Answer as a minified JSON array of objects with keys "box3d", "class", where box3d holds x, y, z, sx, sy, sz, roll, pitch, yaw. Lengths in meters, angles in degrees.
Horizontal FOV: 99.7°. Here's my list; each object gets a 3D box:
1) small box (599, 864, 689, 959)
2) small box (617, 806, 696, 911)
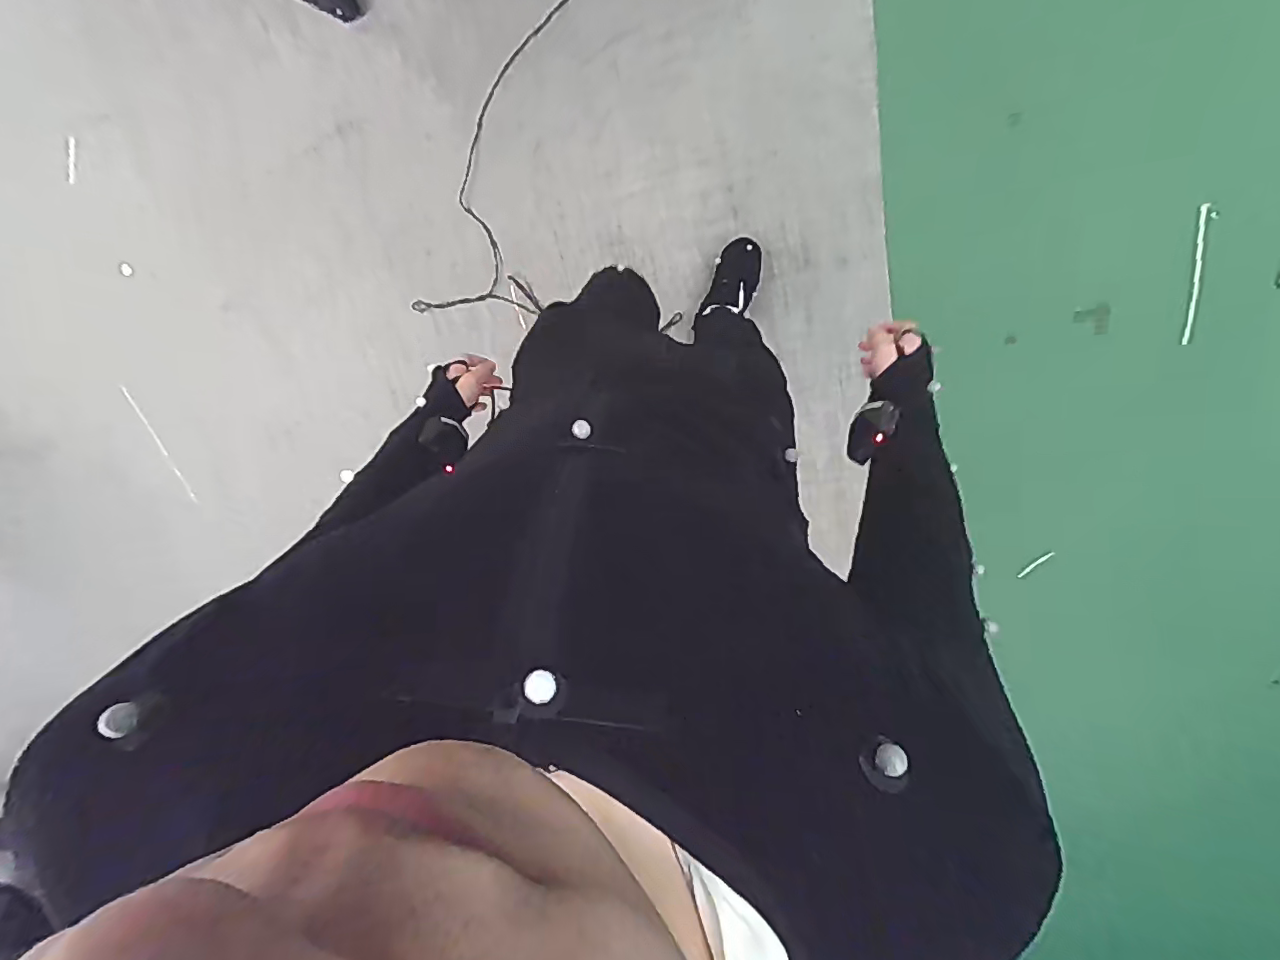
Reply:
[{"box3d":[0.018,1.066,1.296,0.168,0.176,0.179,-8,110,14],"class":"small box"},{"box3d":[0.051,1.015,1.450,0.168,0.176,0.179,-6,111,14],"class":"small box"}]
